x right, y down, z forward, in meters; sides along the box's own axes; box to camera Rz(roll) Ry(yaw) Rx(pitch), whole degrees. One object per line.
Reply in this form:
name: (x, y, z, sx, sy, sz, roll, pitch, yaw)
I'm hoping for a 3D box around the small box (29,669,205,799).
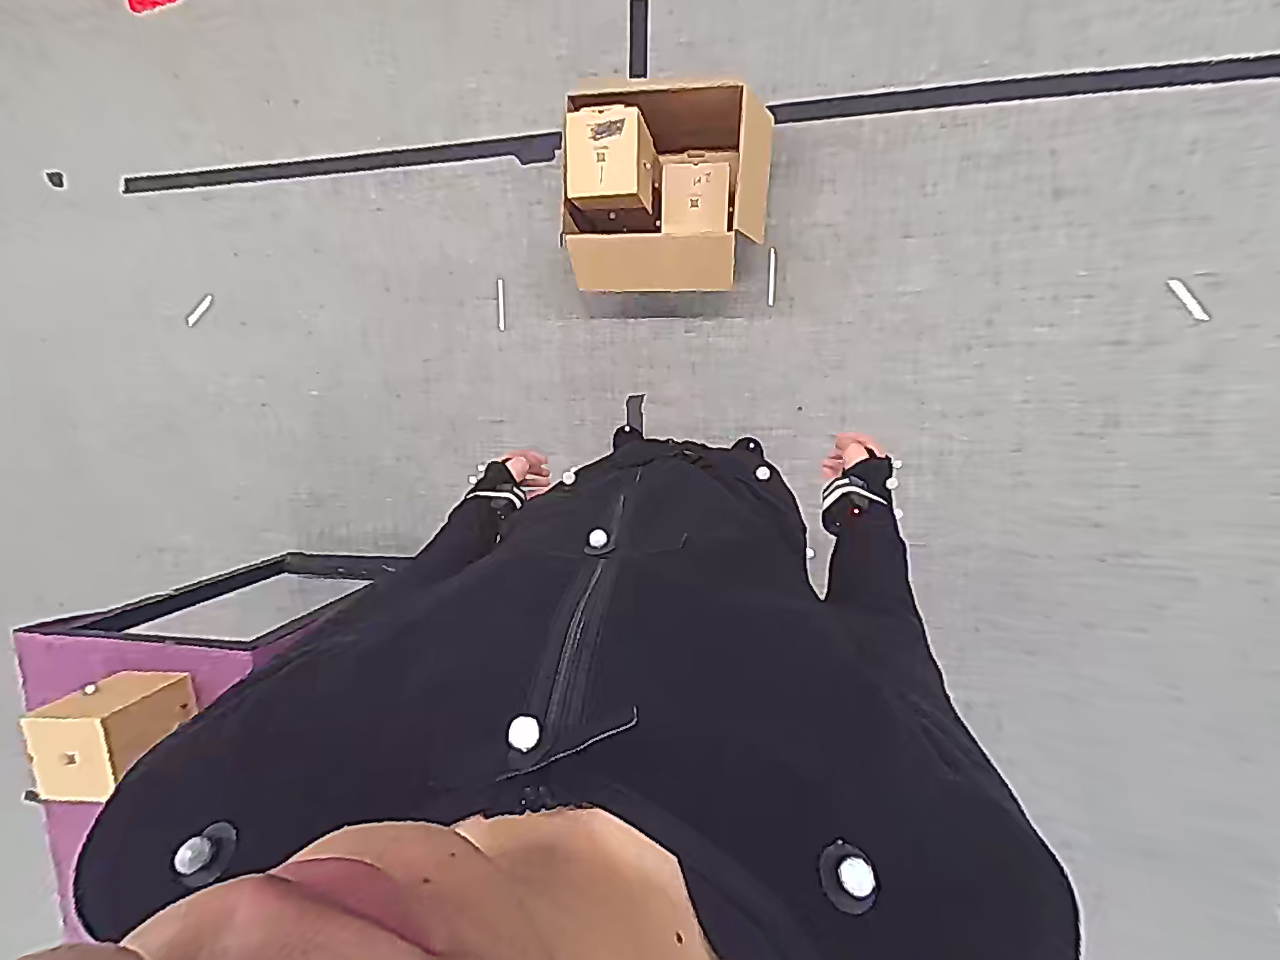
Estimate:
small box: (-1.006, 0.484, 1.053, 0.179, 0.176, 0.168, -3, 99, 11)
